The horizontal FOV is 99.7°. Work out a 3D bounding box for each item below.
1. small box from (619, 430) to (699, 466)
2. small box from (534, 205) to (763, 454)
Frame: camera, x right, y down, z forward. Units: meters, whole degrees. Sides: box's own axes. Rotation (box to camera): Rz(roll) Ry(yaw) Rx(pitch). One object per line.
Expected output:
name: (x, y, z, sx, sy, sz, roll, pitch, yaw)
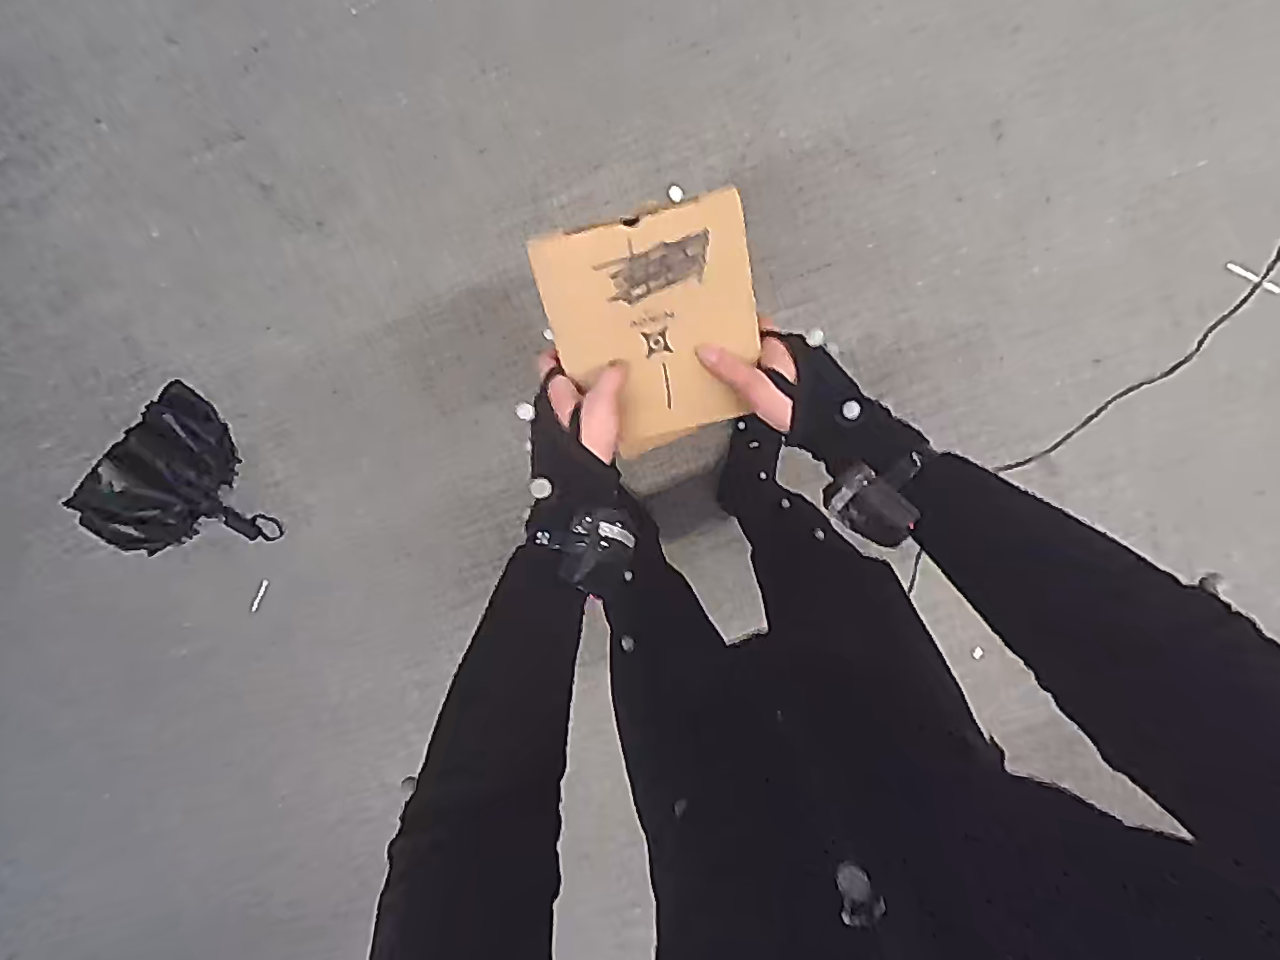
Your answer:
small box: (0.014, -0.154, 1.173, 0.168, 0.176, 0.179, -23, 104, 7)
small box: (0.009, -0.149, 0.526, 0.168, 0.176, 0.179, -13, 115, 4)
